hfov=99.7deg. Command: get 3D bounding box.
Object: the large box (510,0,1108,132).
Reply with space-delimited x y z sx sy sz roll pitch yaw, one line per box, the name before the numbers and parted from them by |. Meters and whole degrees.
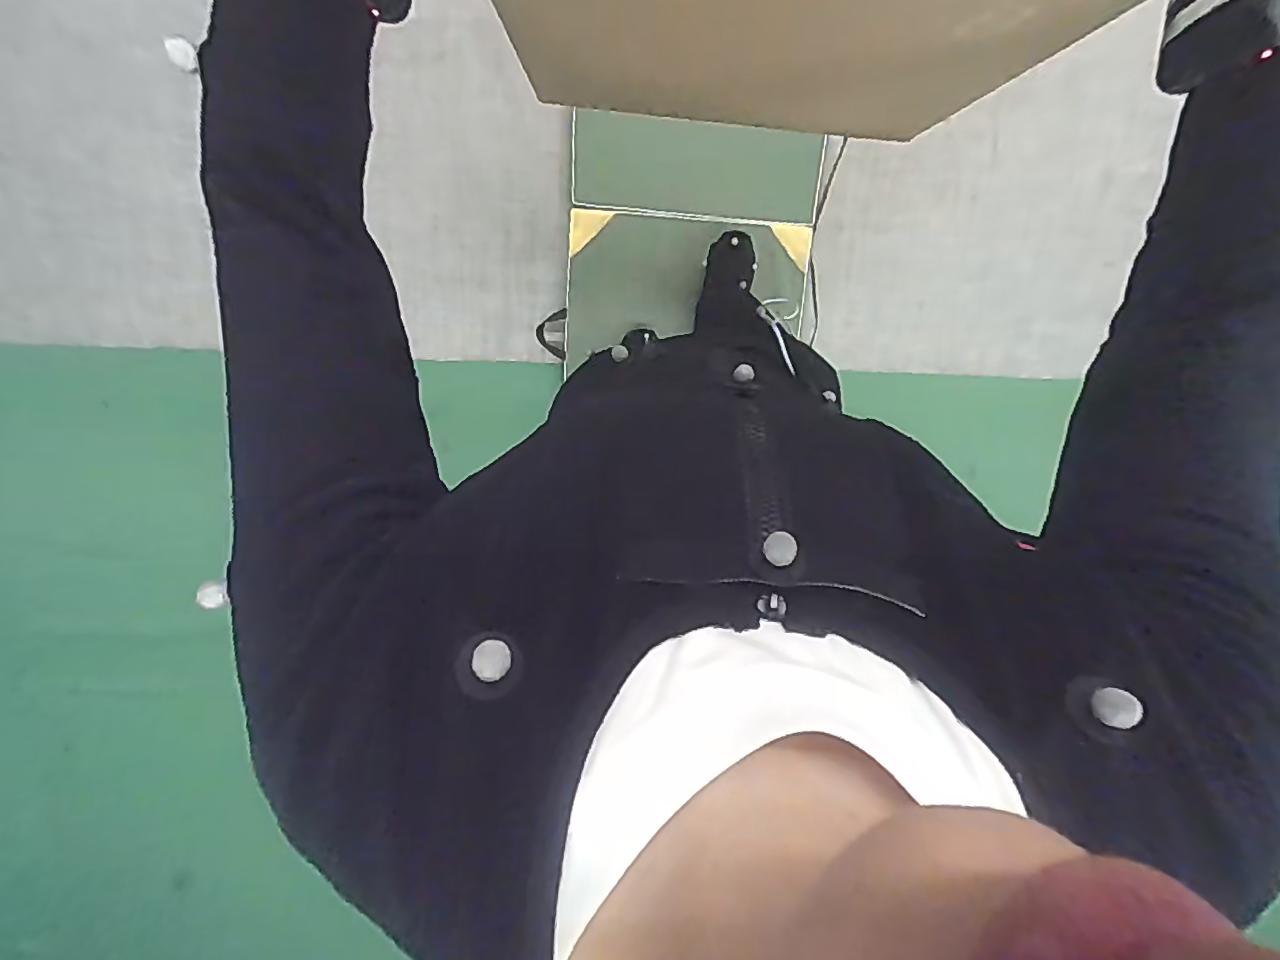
large box | 0.108 -0.488 0.398 0.408 0.320 0.320 3 108 -3
